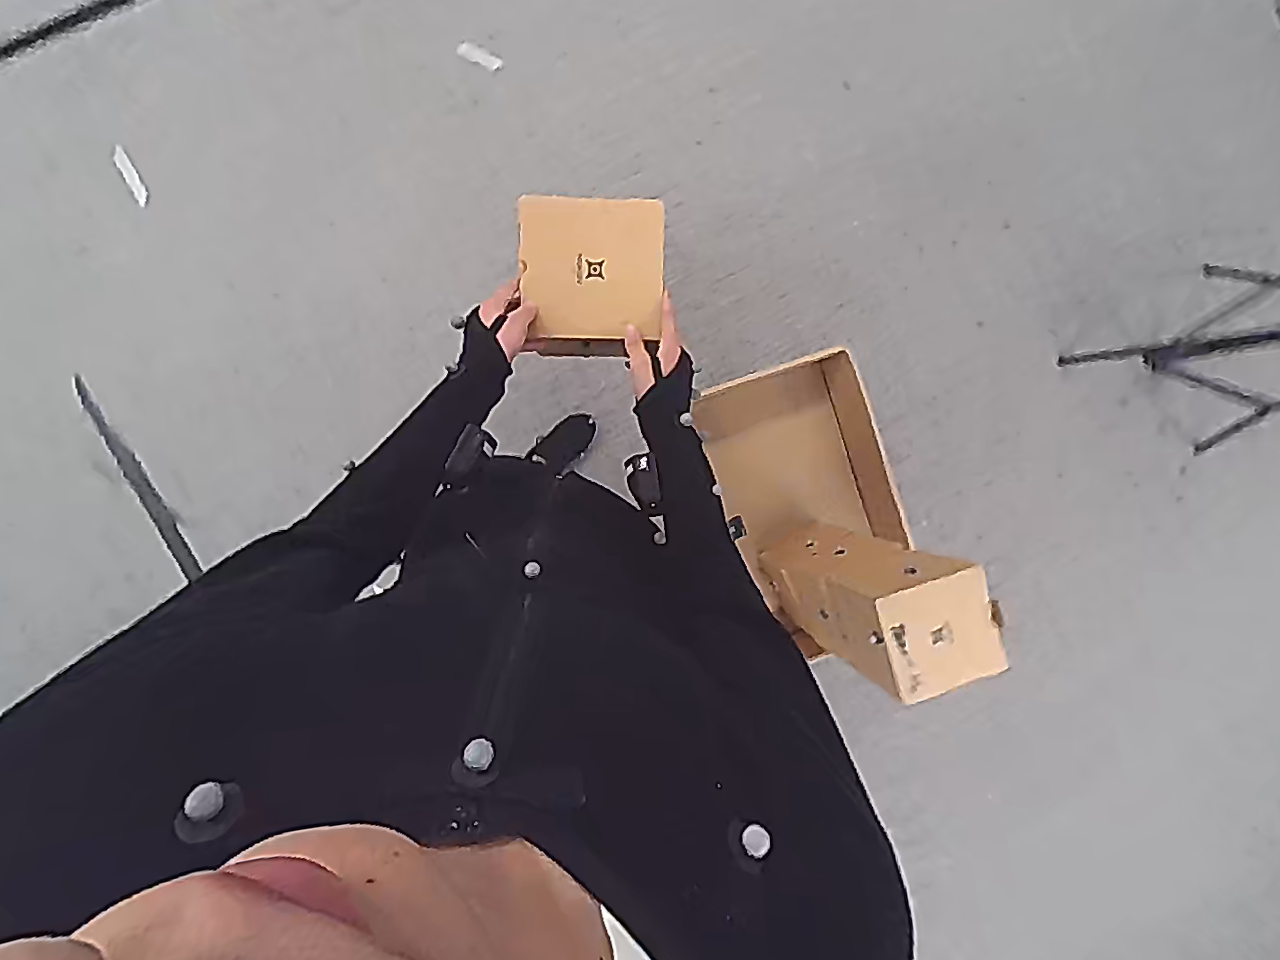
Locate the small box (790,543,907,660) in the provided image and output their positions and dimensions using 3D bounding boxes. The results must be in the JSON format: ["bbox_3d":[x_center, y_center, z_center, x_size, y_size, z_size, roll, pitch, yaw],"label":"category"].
[{"bbox_3d":[0.406,0.227,1.017,0.168,0.176,0.179,-22,93,-5],"label":"small box"}]

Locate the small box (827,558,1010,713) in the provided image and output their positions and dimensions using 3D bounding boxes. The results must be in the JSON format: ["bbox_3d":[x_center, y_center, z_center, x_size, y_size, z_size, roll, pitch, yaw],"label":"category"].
[{"bbox_3d":[0.427,0.231,0.854,0.179,0.176,0.168,-16,92,-6],"label":"small box"}]

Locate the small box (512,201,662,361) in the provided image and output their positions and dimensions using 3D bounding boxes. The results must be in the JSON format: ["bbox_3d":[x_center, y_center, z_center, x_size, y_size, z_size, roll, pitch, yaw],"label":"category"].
[{"bbox_3d":[-0.064,-0.251,0.716,0.179,0.176,0.168,0,96,-1],"label":"small box"}]
